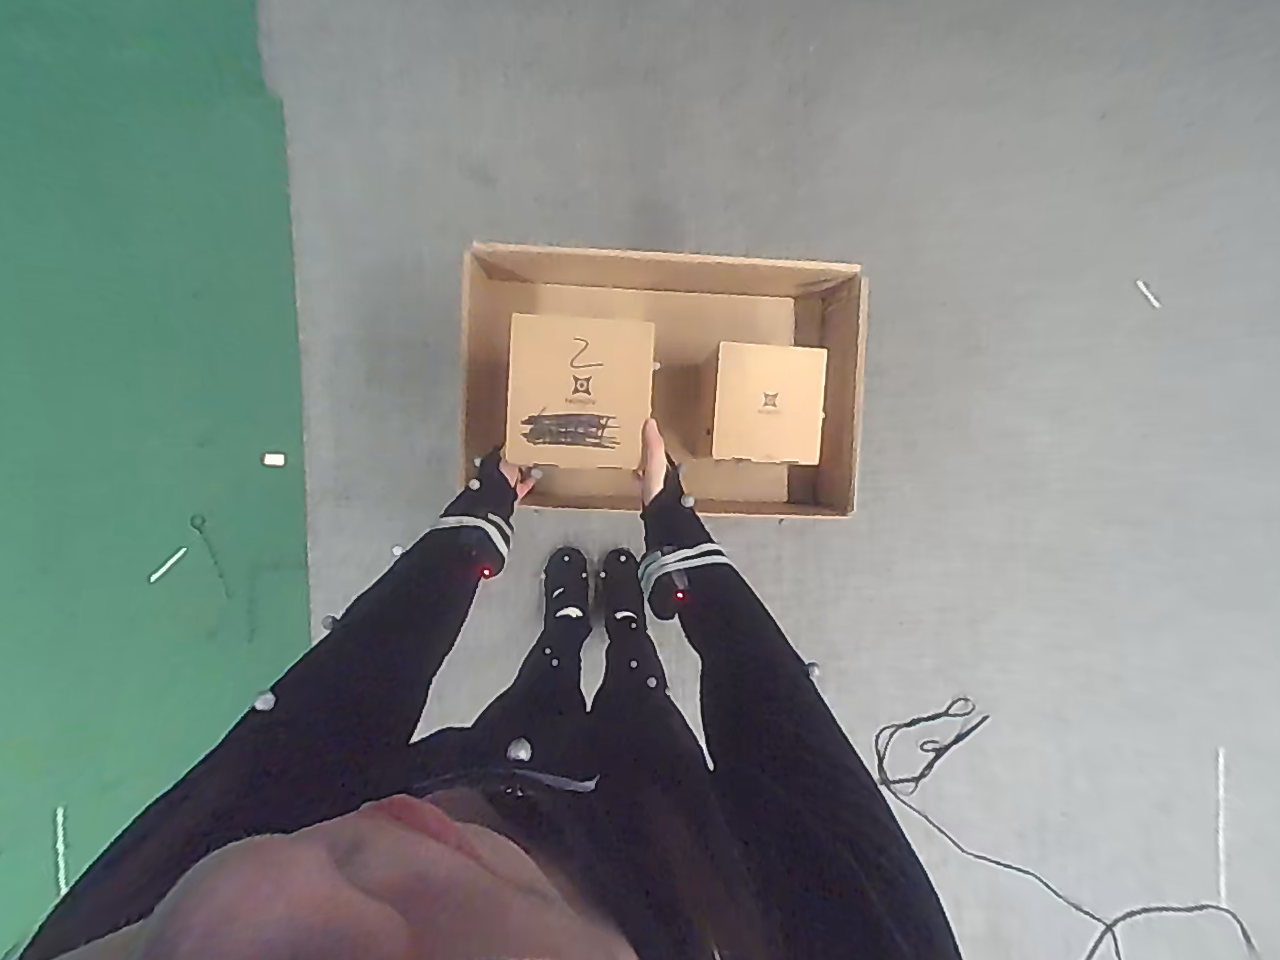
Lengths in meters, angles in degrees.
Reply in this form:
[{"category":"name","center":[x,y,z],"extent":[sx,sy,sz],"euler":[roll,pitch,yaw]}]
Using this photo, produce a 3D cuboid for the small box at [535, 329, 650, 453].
[{"category":"small box","center":[-0.074,-0.134,0.866],"extent":[0.168,0.176,0.179],"euler":[1,94,-3]}]
